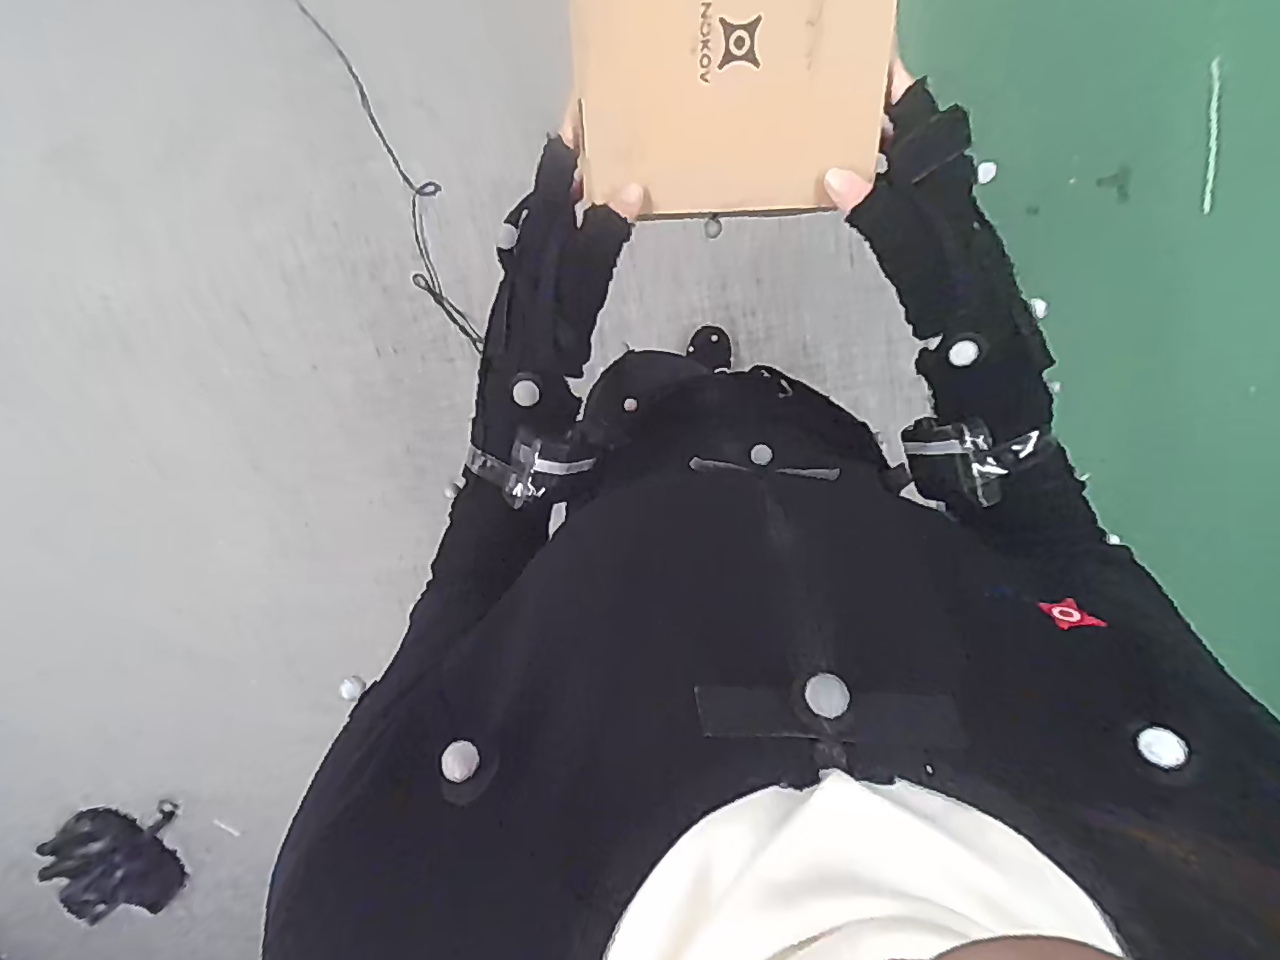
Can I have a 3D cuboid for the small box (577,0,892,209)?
[{"bbox_3d":[0.052,-0.286,0.374,0.179,0.176,0.168,-4,115,0],"label":"small box"}]
